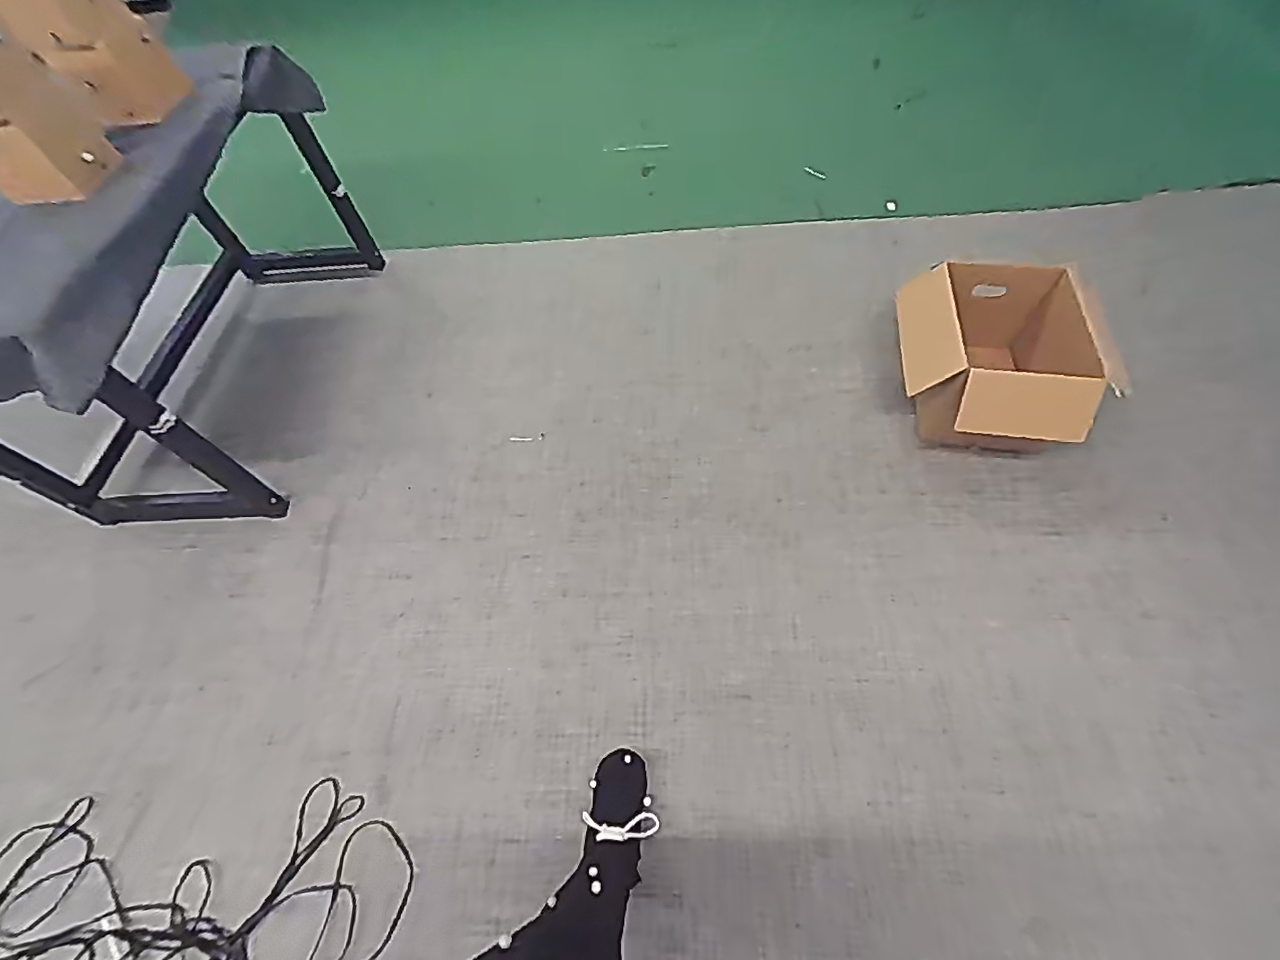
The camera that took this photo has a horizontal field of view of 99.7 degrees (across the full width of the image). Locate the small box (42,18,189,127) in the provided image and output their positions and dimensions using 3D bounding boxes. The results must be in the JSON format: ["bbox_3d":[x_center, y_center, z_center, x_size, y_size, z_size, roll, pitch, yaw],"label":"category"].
[{"bbox_3d":[-1.289,-1.006,1.347,0.168,0.176,0.179,-1,58,5],"label":"small box"}]

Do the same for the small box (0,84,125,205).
[{"bbox_3d":[-1.301,-0.720,1.170,0.179,0.176,0.168,-2,59,3],"label":"small box"}]

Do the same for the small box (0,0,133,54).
[{"bbox_3d":[-1.318,-1.090,1.204,0.168,0.176,0.179,2,59,7],"label":"small box"}]

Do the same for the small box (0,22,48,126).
[{"bbox_3d":[-1.313,-0.800,1.028,0.168,0.176,0.179,-4,59,4],"label":"small box"}]
